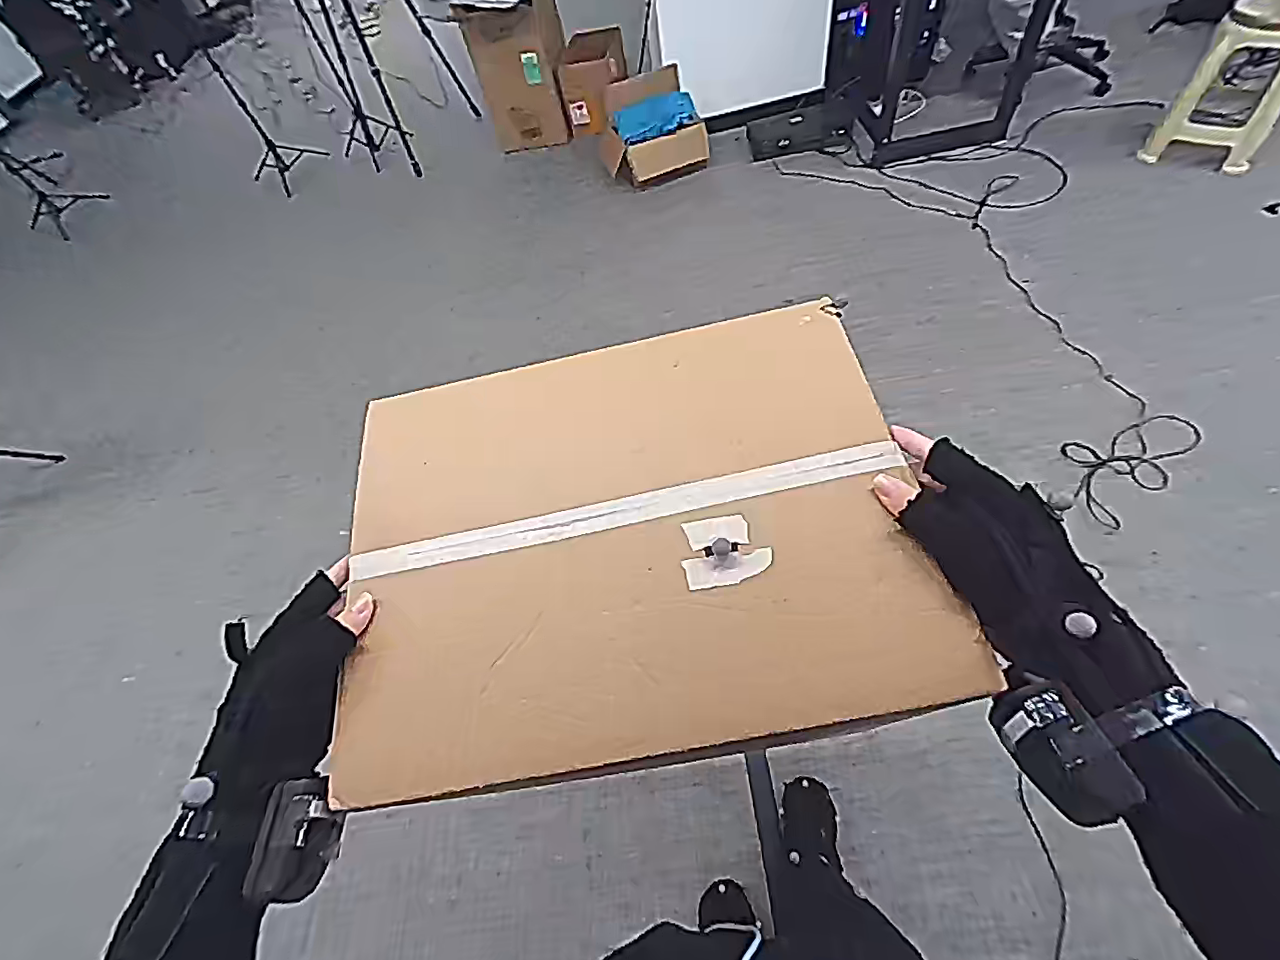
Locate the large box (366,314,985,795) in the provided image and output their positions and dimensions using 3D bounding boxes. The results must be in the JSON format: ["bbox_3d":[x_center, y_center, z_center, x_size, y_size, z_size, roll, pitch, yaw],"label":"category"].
[{"bbox_3d":[0.014,0.096,0.536,0.408,0.320,0.320,-12,62,3],"label":"large box"}]
